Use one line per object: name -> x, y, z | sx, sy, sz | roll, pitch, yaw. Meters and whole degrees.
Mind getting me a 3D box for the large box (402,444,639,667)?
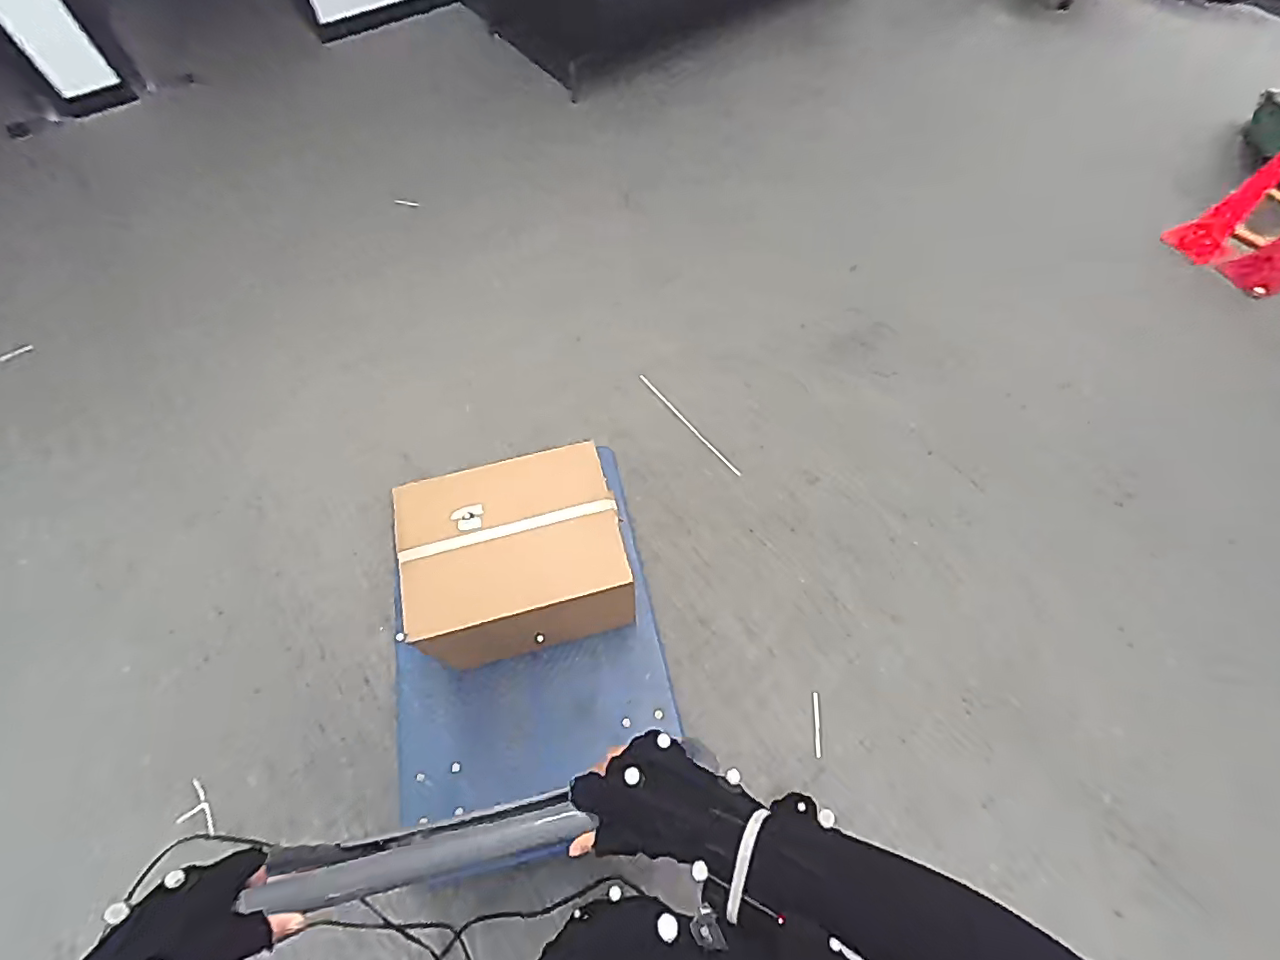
large box -> -0.234, 0.170, 1.148 | 0.408, 0.320, 0.320 | -14, 62, -7
